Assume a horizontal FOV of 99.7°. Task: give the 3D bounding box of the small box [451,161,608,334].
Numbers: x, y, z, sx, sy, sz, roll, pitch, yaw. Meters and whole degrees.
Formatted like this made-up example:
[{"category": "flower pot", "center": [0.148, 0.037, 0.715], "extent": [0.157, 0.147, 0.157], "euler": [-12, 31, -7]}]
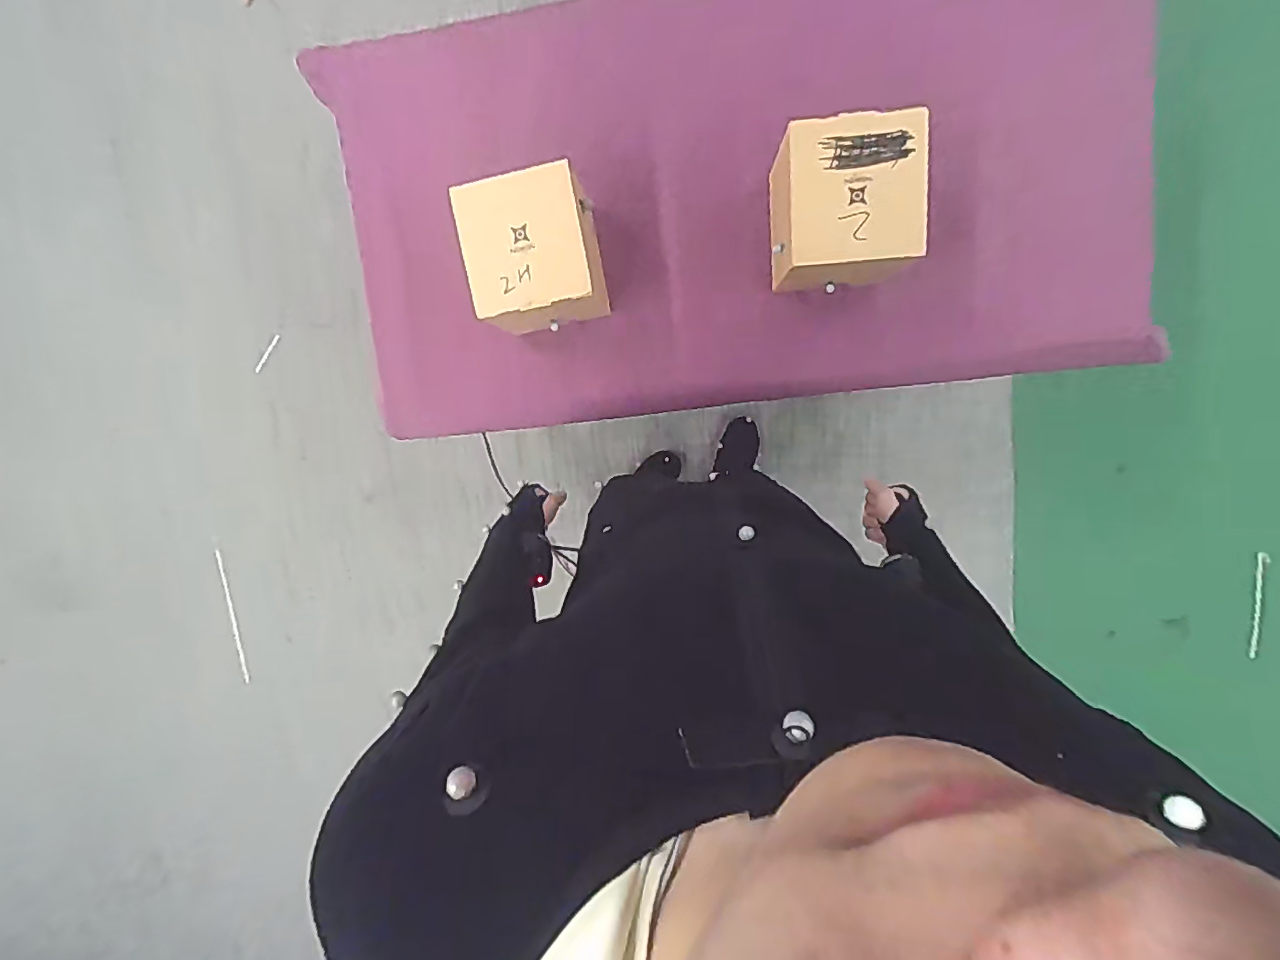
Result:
[{"category": "small box", "center": [-0.151, -0.327, 0.797], "extent": [0.168, 0.176, 0.179], "euler": [-10, 96, 7]}]
